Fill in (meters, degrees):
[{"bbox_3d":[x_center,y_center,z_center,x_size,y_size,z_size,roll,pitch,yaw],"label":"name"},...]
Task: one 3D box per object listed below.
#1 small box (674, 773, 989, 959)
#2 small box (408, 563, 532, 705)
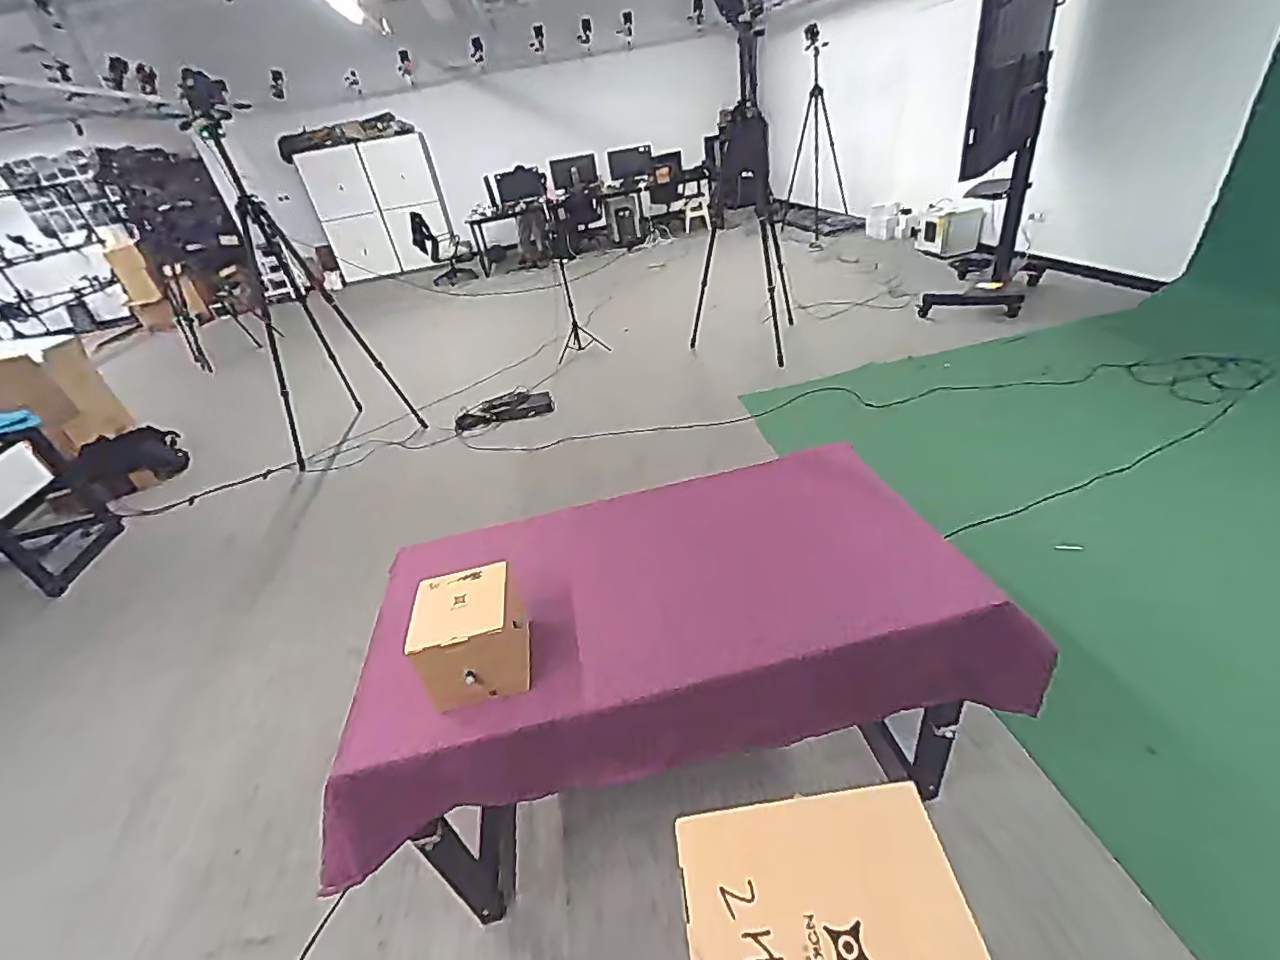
[{"bbox_3d":[0.129,0.337,0.385,0.179,0.176,0.168,-11,40,3],"label":"small box"},{"bbox_3d":[-0.301,0.288,0.996,0.168,0.176,0.179,-13,34,-4],"label":"small box"}]
